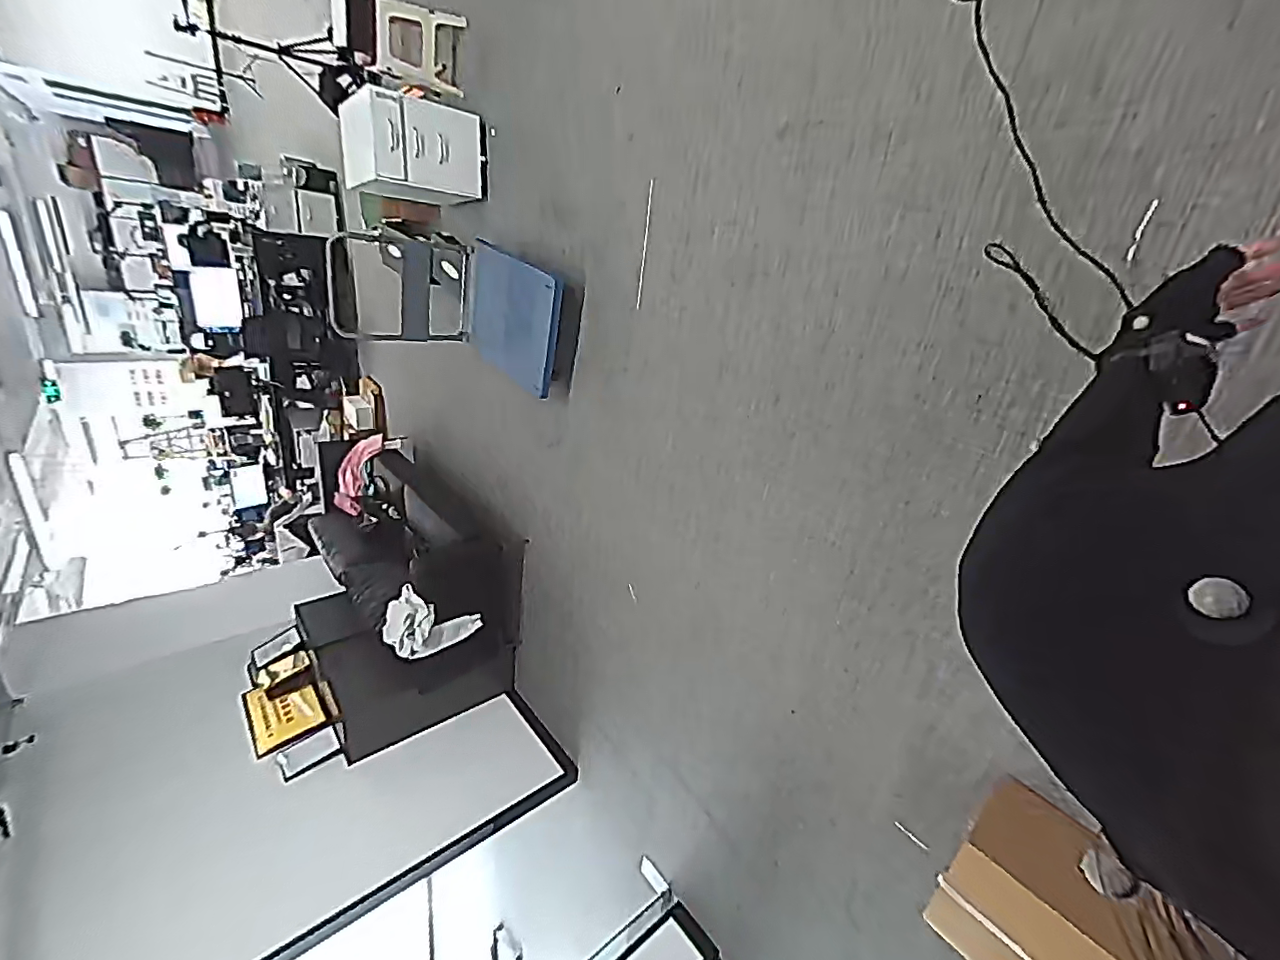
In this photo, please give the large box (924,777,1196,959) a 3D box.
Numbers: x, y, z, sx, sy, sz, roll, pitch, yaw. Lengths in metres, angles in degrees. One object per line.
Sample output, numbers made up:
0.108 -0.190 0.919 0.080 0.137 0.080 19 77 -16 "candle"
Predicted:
0.984 1.029 1.293 0.408 0.320 0.320 30 121 40 "large box"
